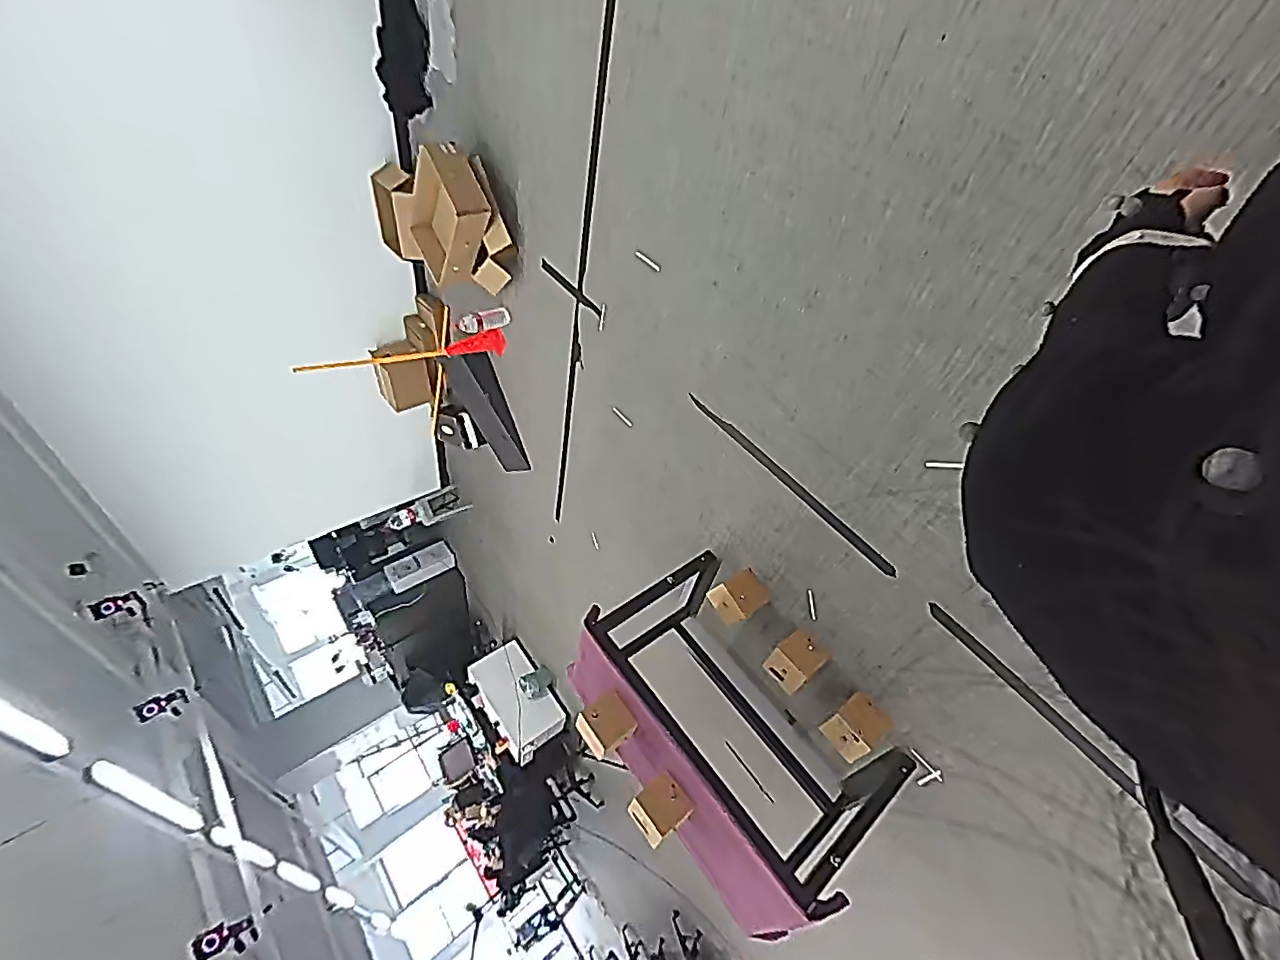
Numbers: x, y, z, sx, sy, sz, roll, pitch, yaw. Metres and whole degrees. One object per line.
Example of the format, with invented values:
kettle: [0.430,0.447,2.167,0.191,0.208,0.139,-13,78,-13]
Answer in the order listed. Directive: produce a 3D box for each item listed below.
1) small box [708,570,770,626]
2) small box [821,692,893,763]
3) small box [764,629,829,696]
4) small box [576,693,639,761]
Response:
small box: [0.441,0.519,2.407,0.179,0.176,0.168,55,146,12]
small box: [0.854,0.971,2.125,0.168,0.176,0.179,47,145,26]
small box: [0.658,0.761,2.259,0.168,0.176,0.179,45,142,27]
small box: [-0.133,0.987,2.179,0.179,0.176,0.168,47,145,25]
